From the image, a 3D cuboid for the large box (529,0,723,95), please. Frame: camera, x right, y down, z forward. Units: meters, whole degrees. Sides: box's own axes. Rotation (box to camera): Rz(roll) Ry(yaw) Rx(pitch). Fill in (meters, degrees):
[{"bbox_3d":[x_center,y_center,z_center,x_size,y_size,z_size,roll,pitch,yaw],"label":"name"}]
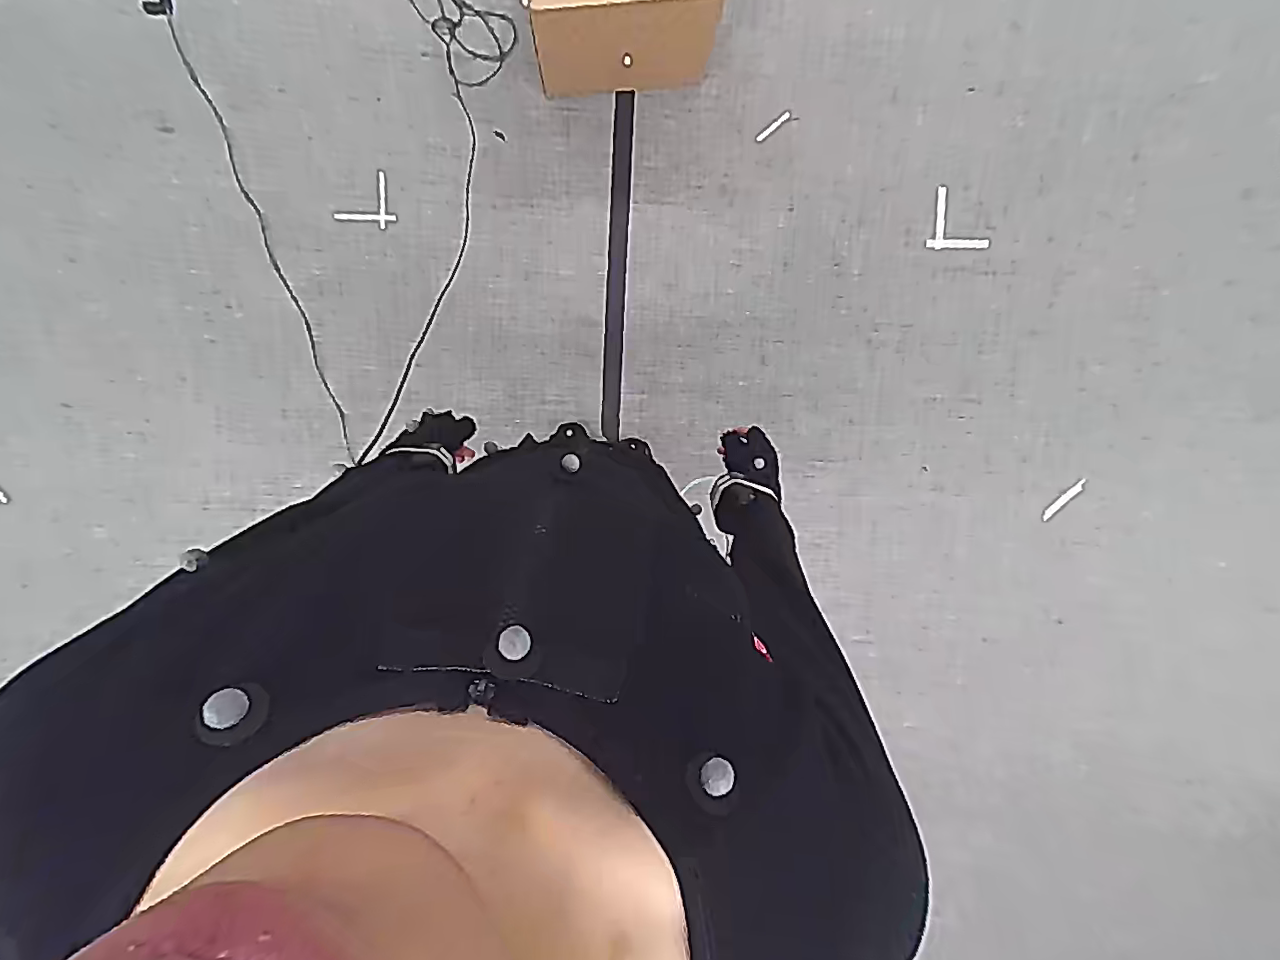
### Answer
[{"bbox_3d":[-0.047,-1.130,1.215,0.408,0.320,0.320,-7,97,-2],"label":"large box"}]
